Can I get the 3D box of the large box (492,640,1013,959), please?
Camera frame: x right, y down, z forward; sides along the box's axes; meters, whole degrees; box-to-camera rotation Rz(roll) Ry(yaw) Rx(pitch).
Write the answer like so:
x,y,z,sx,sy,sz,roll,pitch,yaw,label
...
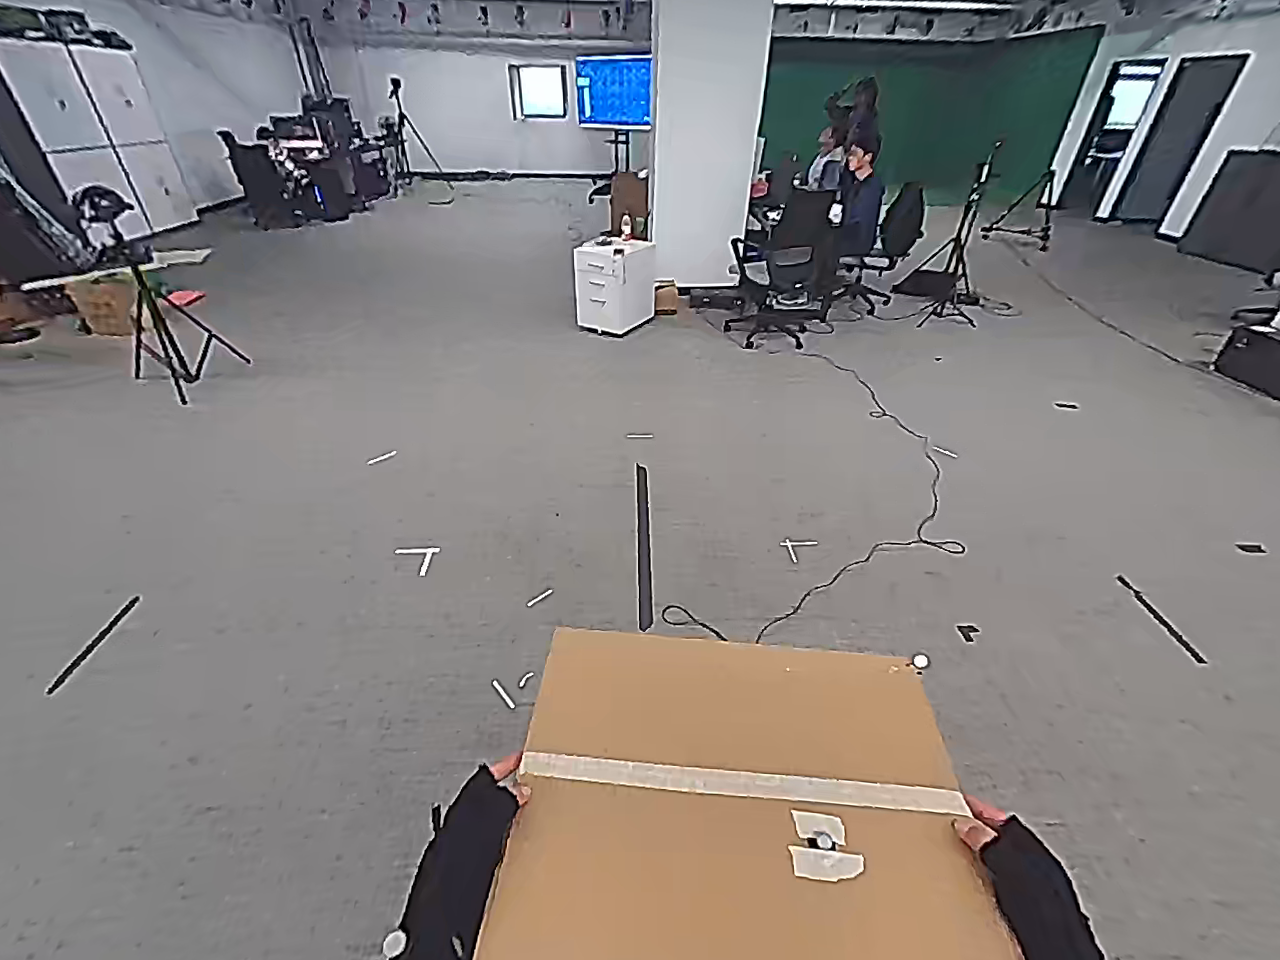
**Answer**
x,y,z,sx,sy,sz,roll,pitch,yaw,label
0.090,0.409,0.590,0.408,0.320,0.320,4,38,3,large box
